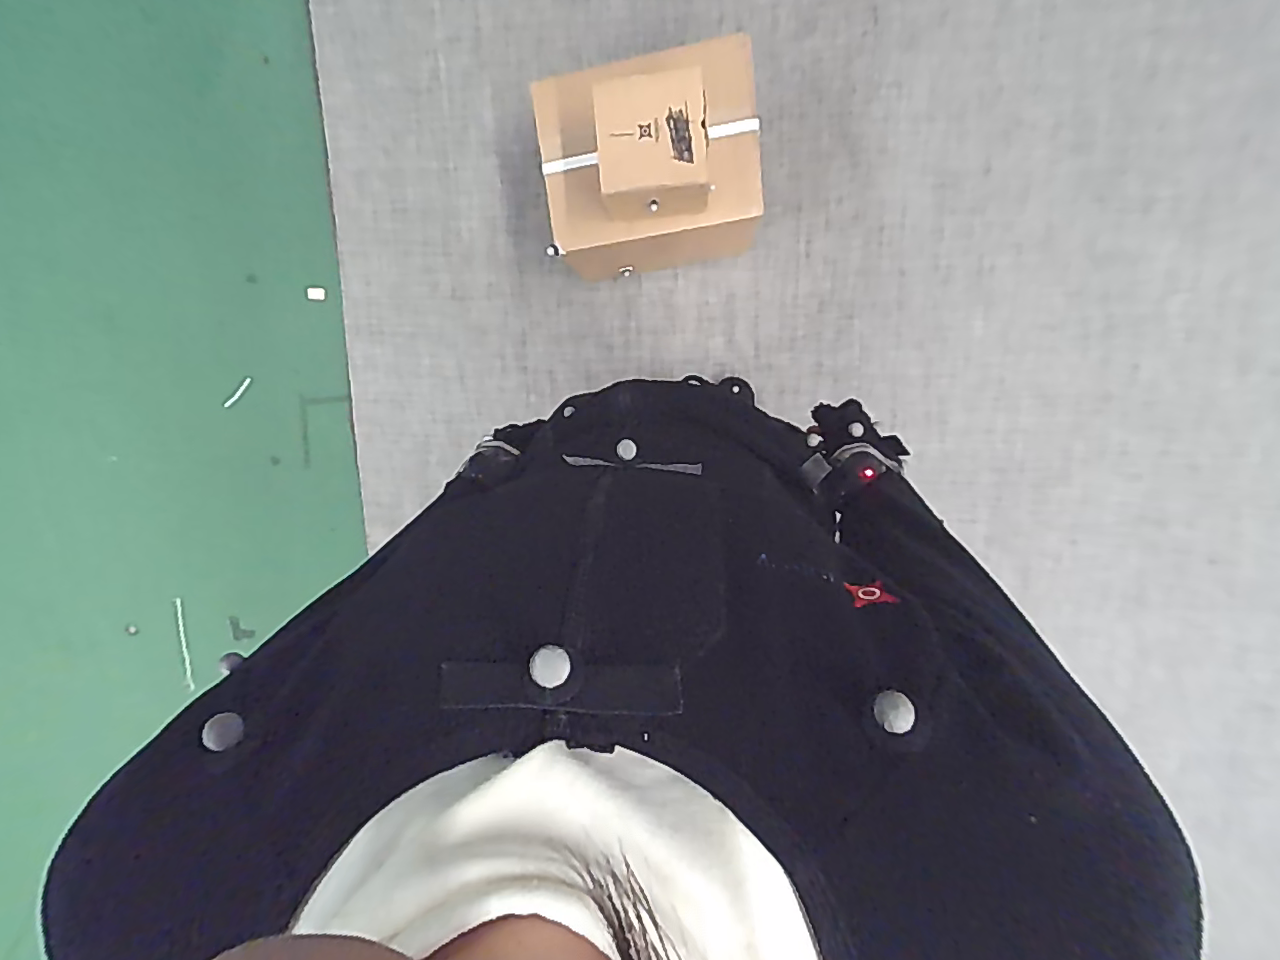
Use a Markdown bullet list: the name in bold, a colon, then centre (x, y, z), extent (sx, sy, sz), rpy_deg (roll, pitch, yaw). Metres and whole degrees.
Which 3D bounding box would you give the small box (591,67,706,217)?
- **small box**: centre (0.023, -0.570, 0.935), extent (0.179, 0.176, 0.168), rpy_deg (-2, 101, 8)
